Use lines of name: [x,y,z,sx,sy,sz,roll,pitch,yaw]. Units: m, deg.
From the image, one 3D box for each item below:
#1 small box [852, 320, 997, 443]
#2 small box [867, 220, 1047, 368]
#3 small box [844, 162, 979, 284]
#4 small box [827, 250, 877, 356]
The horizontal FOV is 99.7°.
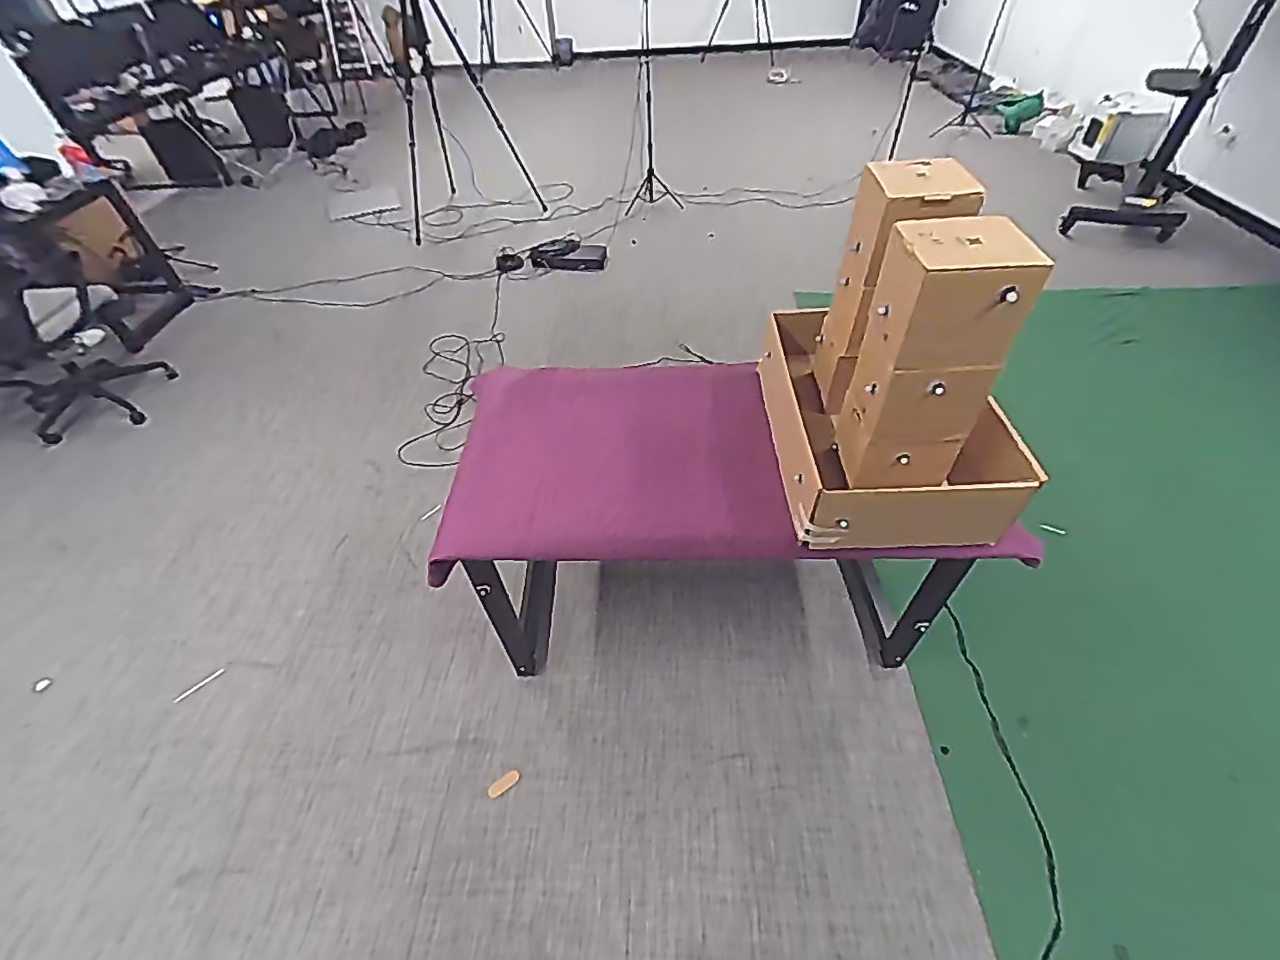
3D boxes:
small box: [0.498,-0.180,0.985,0.179,0.176,0.168,0,48,4]
small box: [0.489,-0.294,0.866,0.179,0.176,0.168,-1,47,4]
small box: [0.509,-0.489,1.044,0.168,0.176,0.179,0,49,3]
small box: [0.515,-0.378,1.165,0.168,0.176,0.179,0,48,4]
